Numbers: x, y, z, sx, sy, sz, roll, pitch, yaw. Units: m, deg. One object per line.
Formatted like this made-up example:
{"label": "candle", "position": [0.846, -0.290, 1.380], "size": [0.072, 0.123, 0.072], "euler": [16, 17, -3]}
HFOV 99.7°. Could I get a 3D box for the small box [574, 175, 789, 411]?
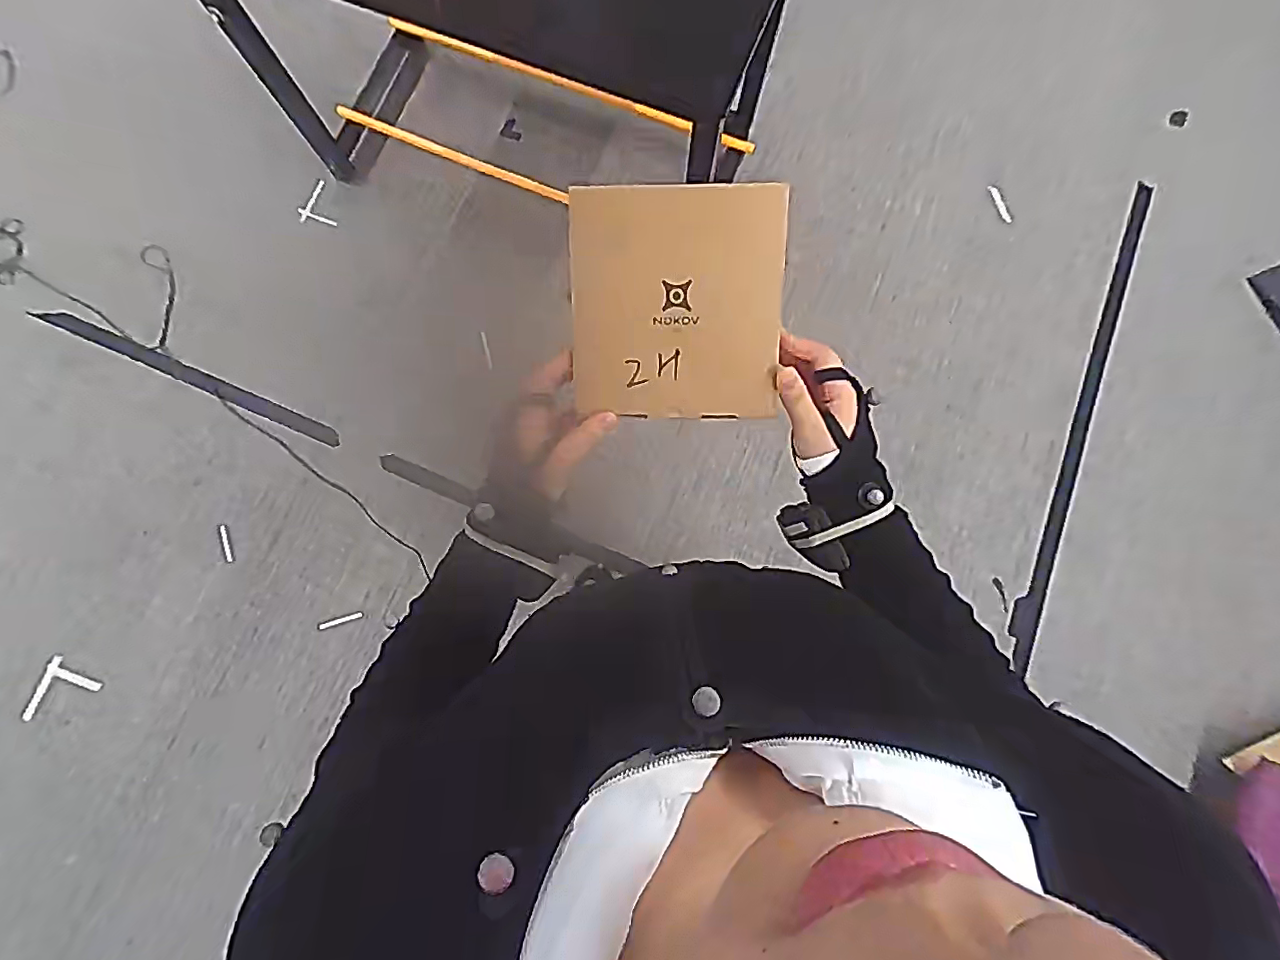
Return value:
{"label": "small box", "position": [0.034, -0.160, 0.501], "size": [0.168, 0.176, 0.179], "euler": [1, 103, 5]}
